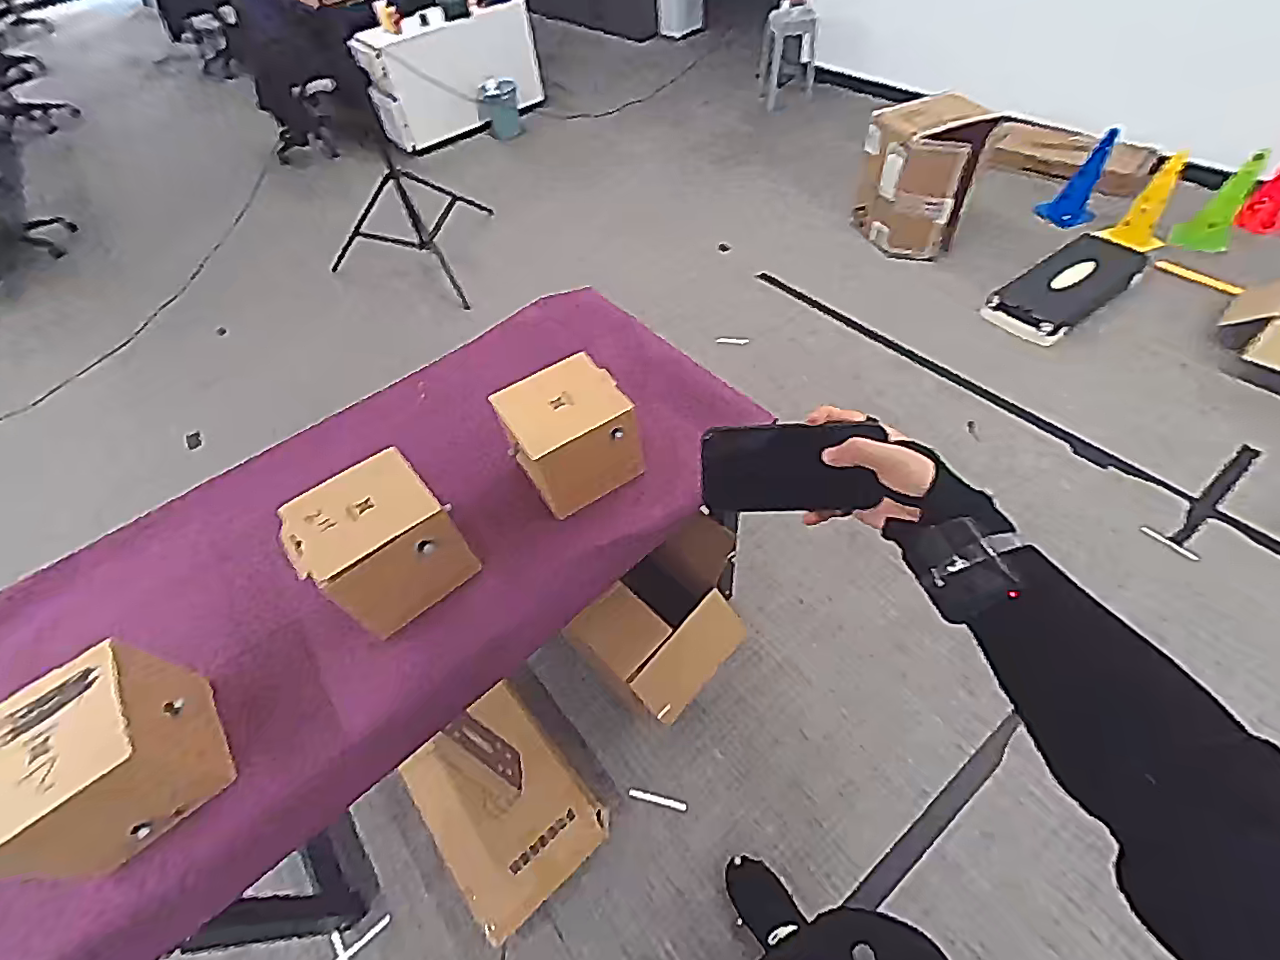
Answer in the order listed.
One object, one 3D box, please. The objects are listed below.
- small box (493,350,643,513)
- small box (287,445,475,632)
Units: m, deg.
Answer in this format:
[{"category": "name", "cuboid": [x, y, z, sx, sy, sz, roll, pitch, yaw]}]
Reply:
[{"category": "small box", "cuboid": [-0.111, -0.075, 0.895, 0.179, 0.176, 0.168, -30, 56, -16]}, {"category": "small box", "cuboid": [-0.368, 0.088, 0.801, 0.179, 0.176, 0.168, -37, 55, -19]}]
